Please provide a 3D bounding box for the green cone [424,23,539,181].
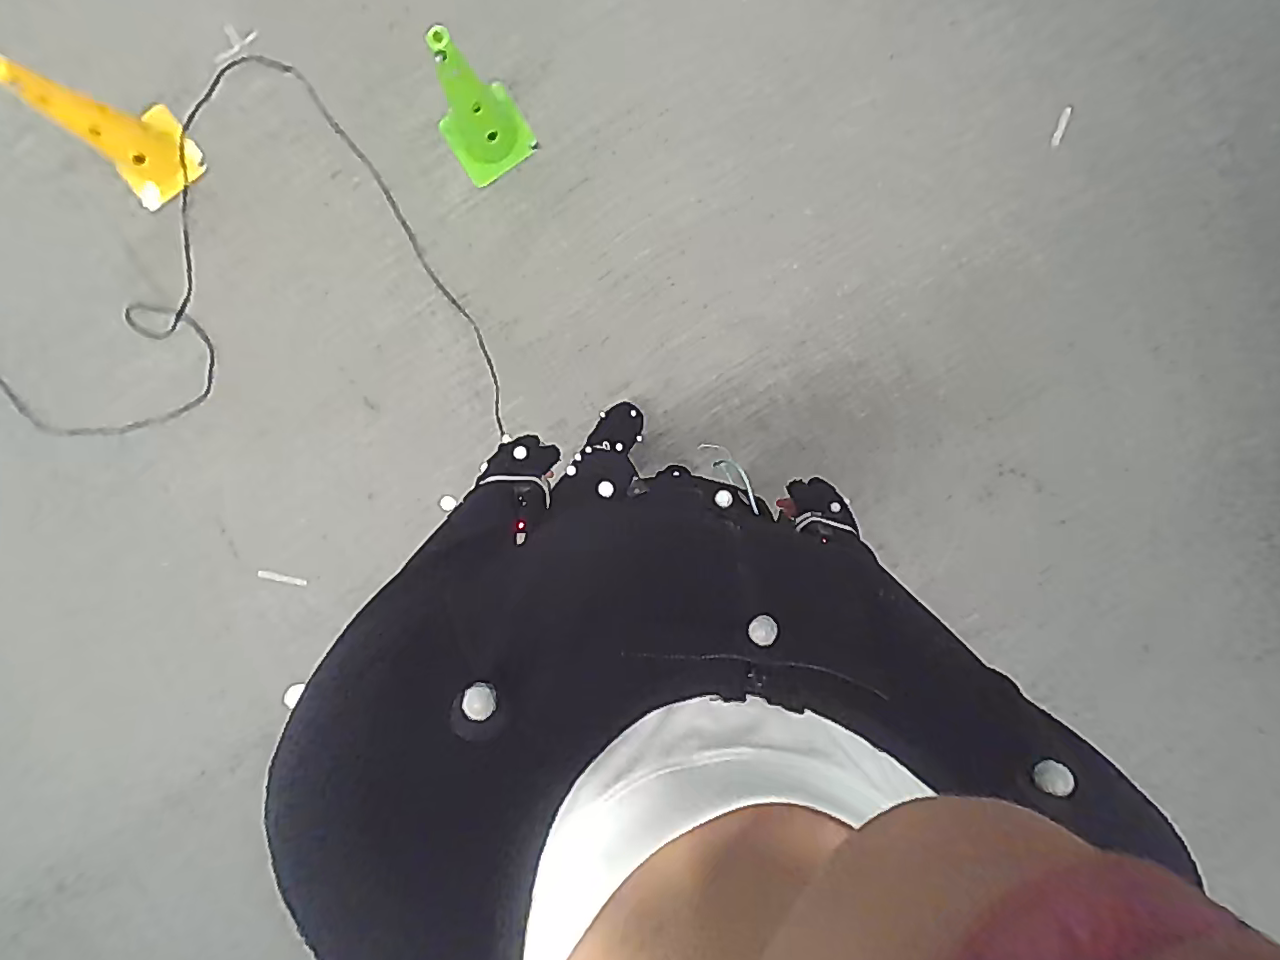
[{"bbox_3d":[-0.392,-0.892,1.227,0.202,0.368,0.200,-33,93,5],"label":"green cone"}]
